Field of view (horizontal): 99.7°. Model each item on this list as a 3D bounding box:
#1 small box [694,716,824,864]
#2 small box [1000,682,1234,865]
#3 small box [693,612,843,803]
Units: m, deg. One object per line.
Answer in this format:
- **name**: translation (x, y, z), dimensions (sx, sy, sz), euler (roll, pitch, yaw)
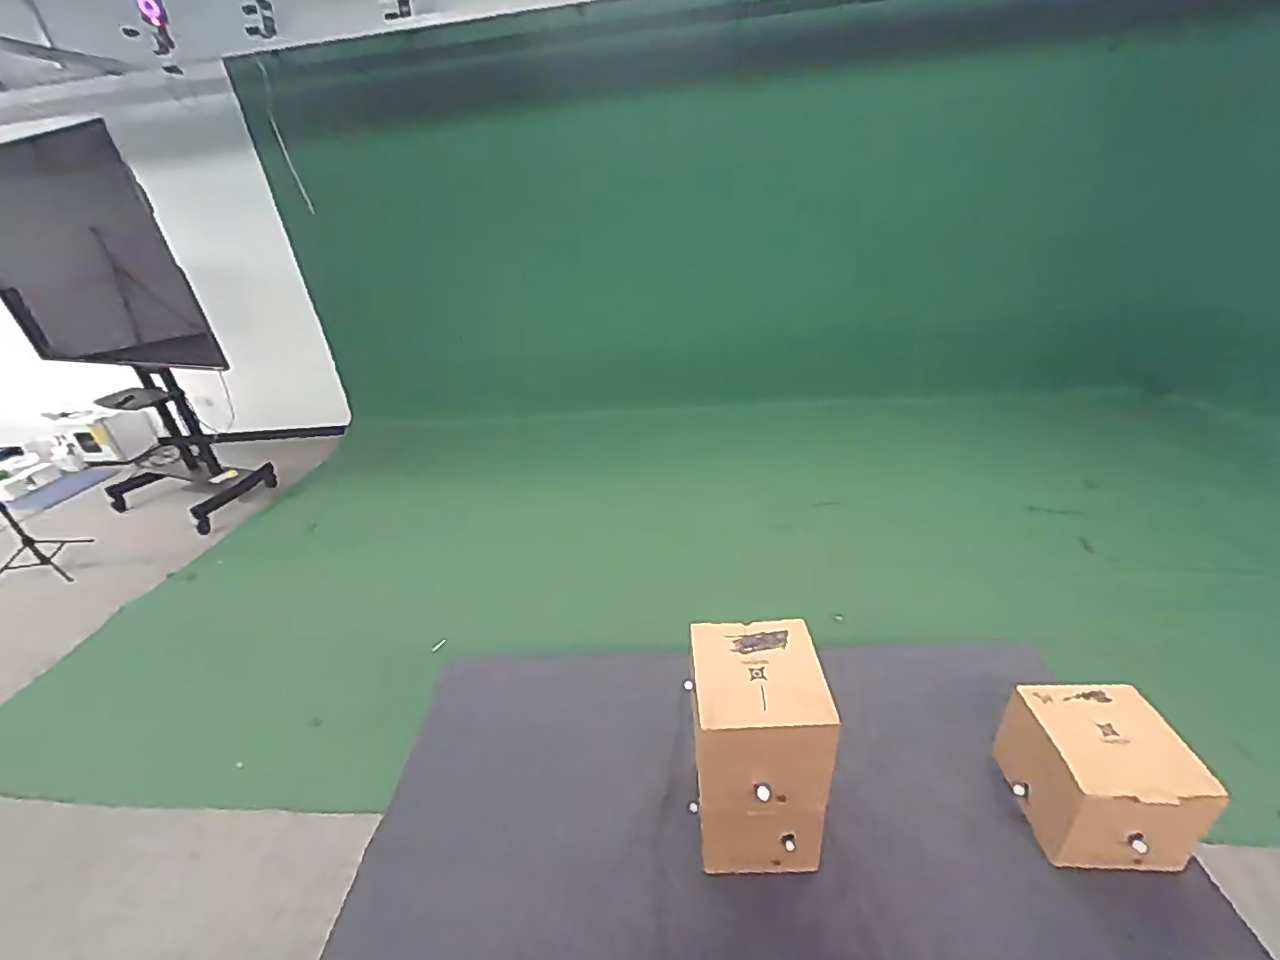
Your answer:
- **small box**: translation (0.169, 0.445, 0.813), dimensions (0.168, 0.176, 0.179), euler (-3, 28, 3)
- **small box**: translation (0.653, 0.415, 0.771), dimensions (0.168, 0.176, 0.179), euler (-2, 29, 7)
- **small box**: translation (0.158, 0.303, 0.732), dimensions (0.168, 0.176, 0.179), euler (-3, 30, 3)
